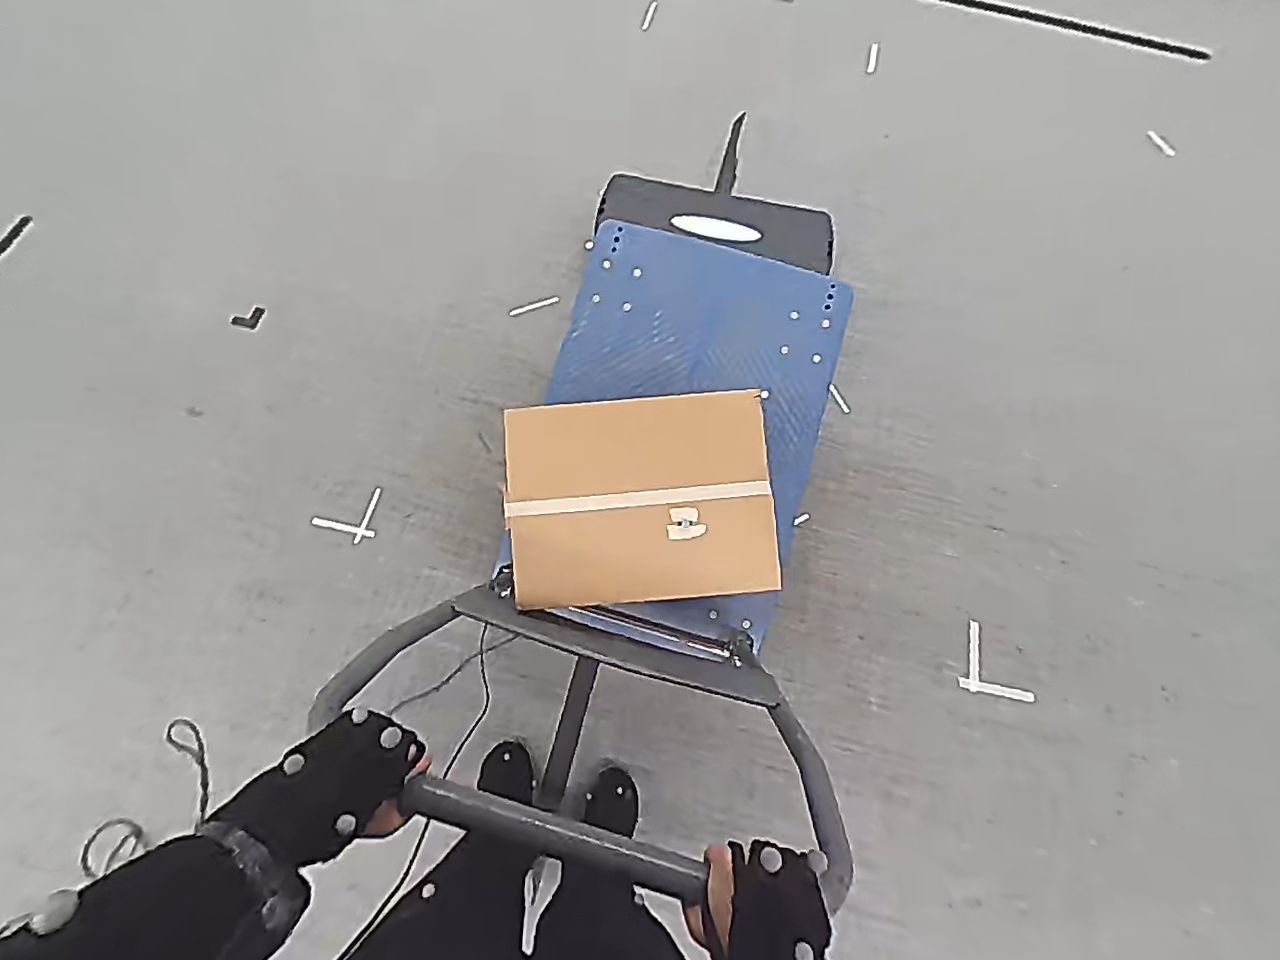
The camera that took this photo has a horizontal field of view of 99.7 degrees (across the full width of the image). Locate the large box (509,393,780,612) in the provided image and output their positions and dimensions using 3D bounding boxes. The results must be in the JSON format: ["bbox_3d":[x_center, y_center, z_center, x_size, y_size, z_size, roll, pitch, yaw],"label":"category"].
[{"bbox_3d":[0.002,0.047,0.985,0.408,0.320,0.320,-5,85,-1],"label":"large box"}]
